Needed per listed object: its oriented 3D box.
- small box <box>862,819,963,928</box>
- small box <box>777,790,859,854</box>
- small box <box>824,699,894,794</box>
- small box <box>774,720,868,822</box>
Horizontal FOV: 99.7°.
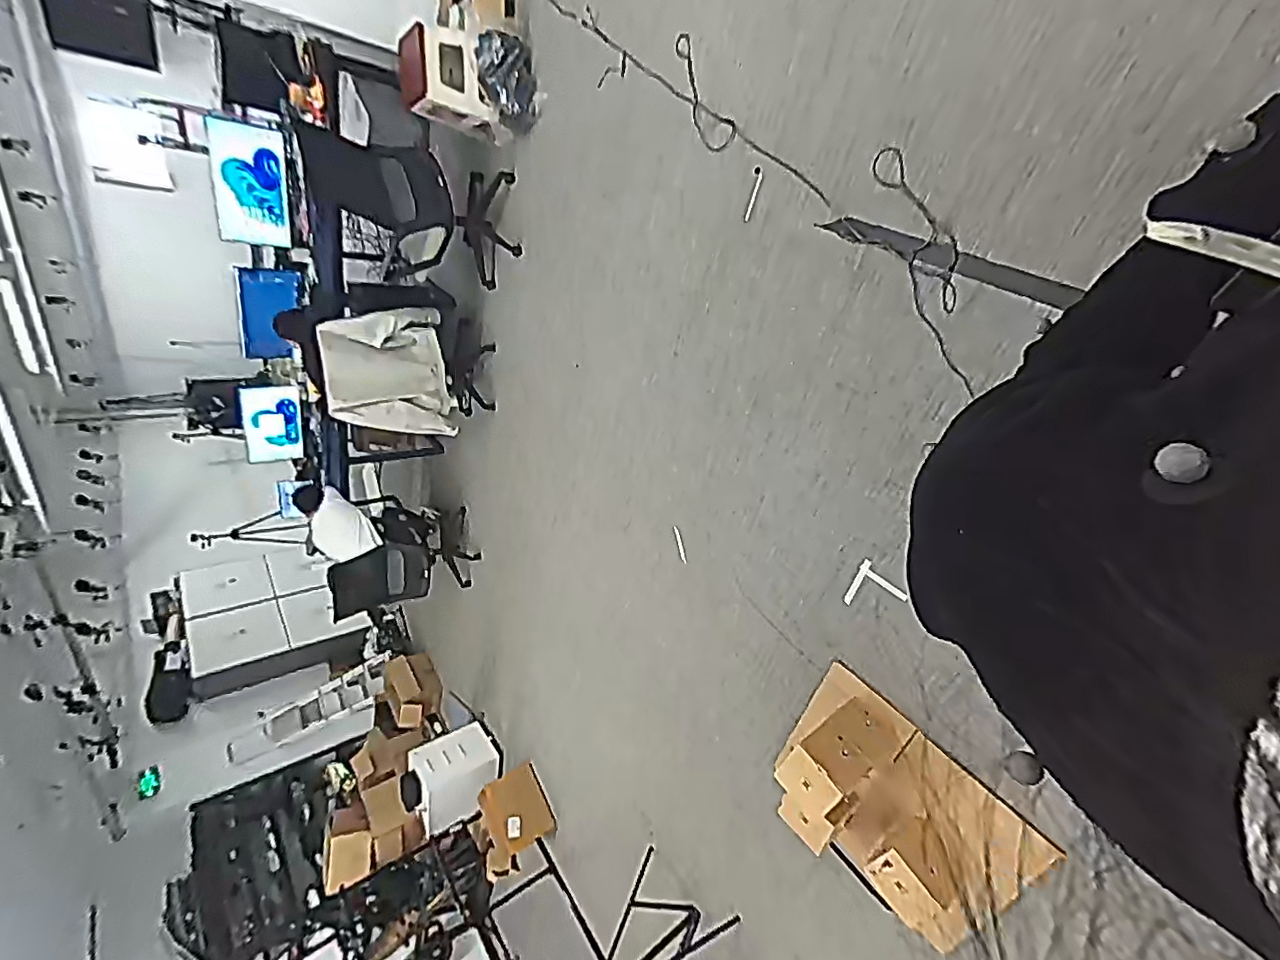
[{"bbox_3d":[0.802,1.146,1.584,0.179,0.176,0.168,48,131,30],"label":"small box"},{"bbox_3d":[0.599,1.096,1.822,0.179,0.176,0.168,36,126,40],"label":"small box"},{"bbox_3d":[0.656,0.825,1.686,0.168,0.176,0.179,40,126,37],"label":"small box"},{"bbox_3d":[0.532,0.847,1.583,0.168,0.176,0.179,44,128,35],"label":"small box"}]
